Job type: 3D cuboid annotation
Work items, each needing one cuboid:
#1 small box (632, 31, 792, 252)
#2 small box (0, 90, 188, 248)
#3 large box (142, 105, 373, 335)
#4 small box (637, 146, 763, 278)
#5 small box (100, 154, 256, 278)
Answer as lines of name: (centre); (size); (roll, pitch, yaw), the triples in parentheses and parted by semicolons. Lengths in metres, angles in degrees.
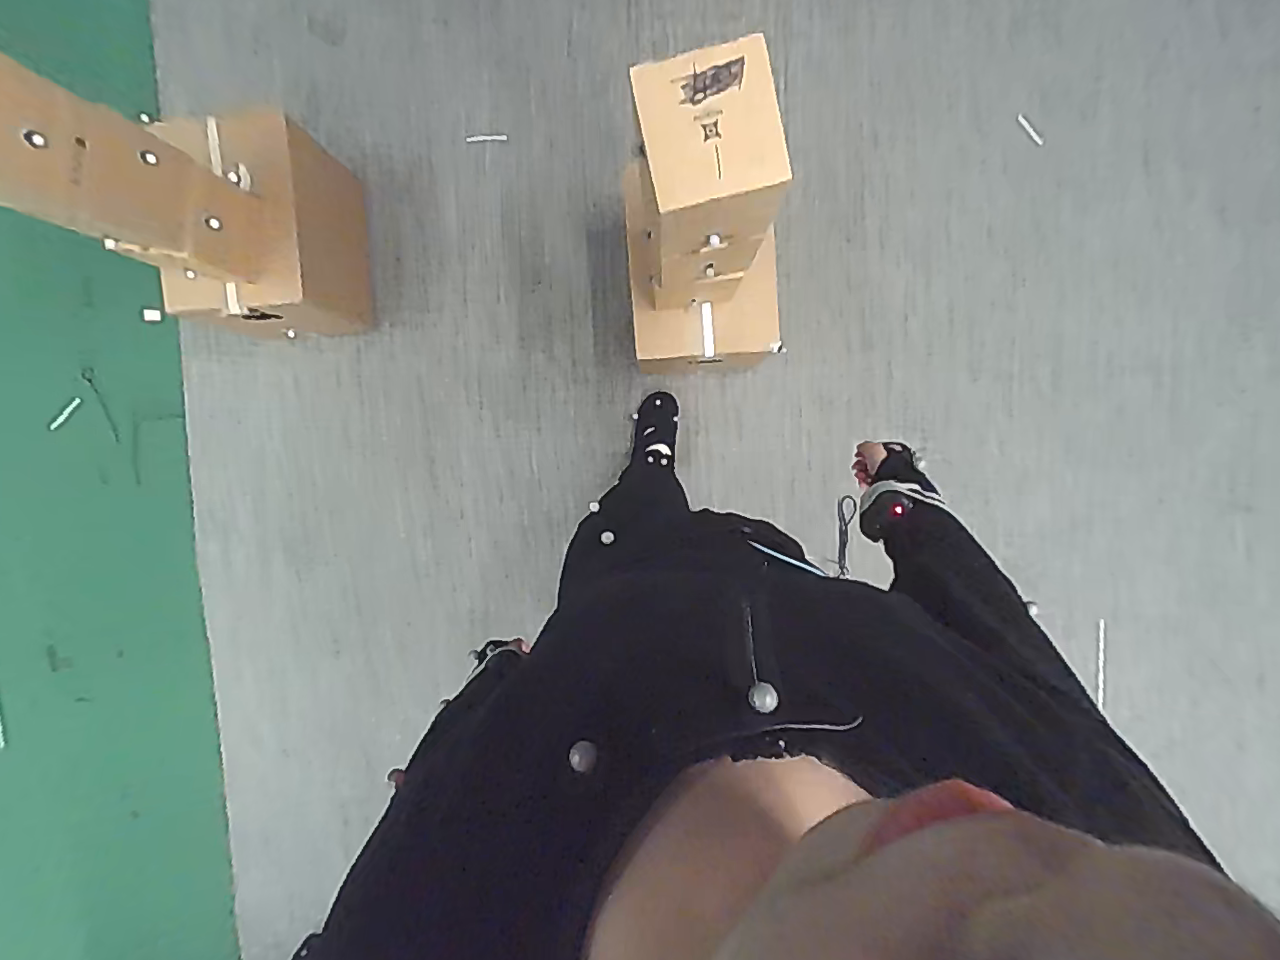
small box: (0.088, -0.433, 0.722); (0.168, 0.176, 0.179); (-12, 95, 4)
small box: (-0.907, -0.515, 0.903); (0.168, 0.176, 0.179); (11, 96, 2)
large box: (-0.888, -0.590, 1.303); (0.320, 0.320, 0.408); (-4, 94, 1)
small box: (0.095, -0.445, 0.887); (0.168, 0.176, 0.179); (-12, 95, 3)
small box: (-0.897, -0.519, 1.065); (0.168, 0.176, 0.179); (7, 95, 1)
